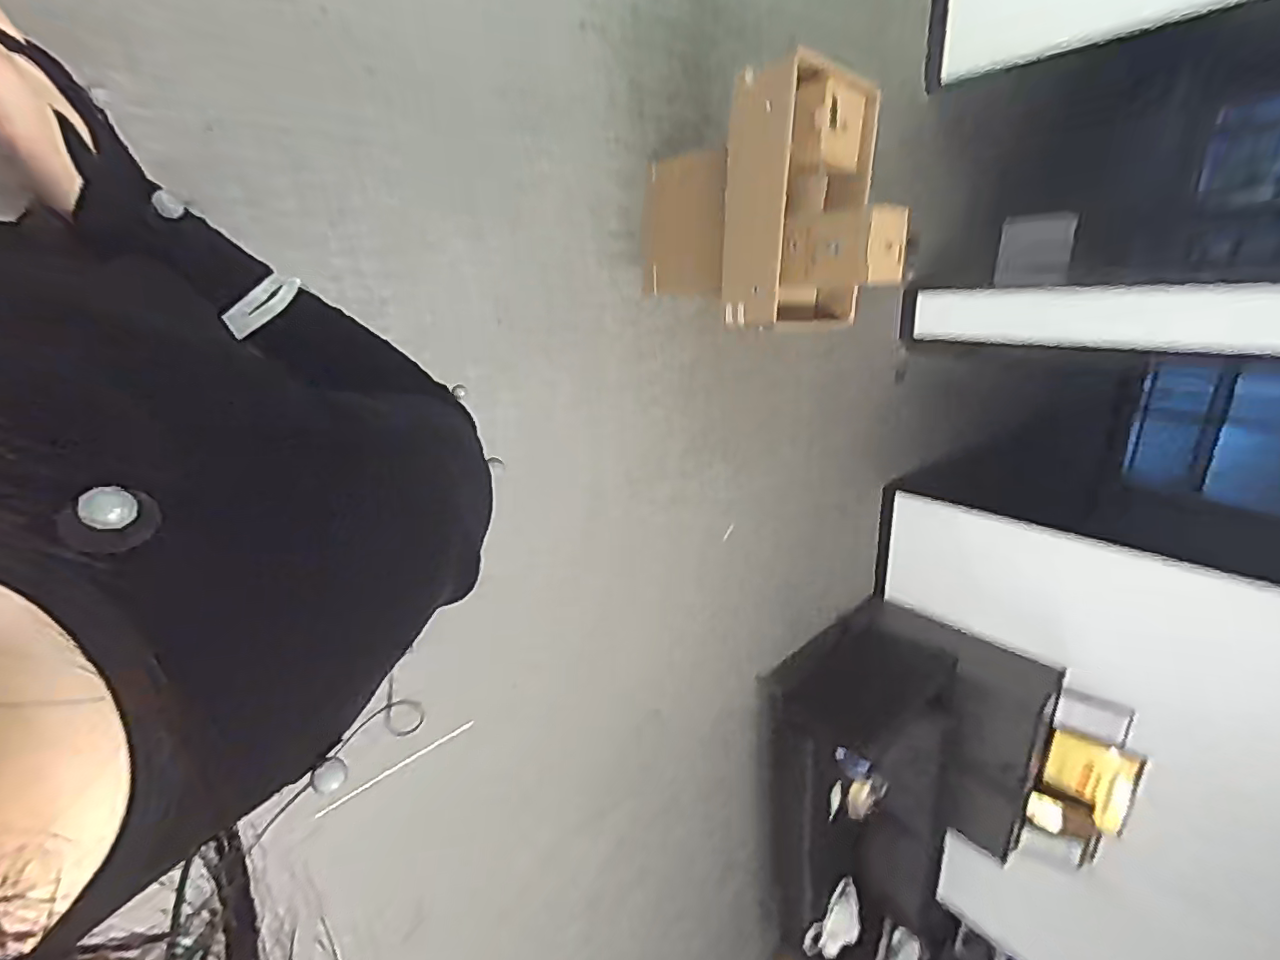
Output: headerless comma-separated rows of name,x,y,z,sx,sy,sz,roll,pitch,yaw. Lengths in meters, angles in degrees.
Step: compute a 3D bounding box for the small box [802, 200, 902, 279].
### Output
small box,0.528,-0.599,1.361,0.179,0.176,0.168,-18,115,-36
